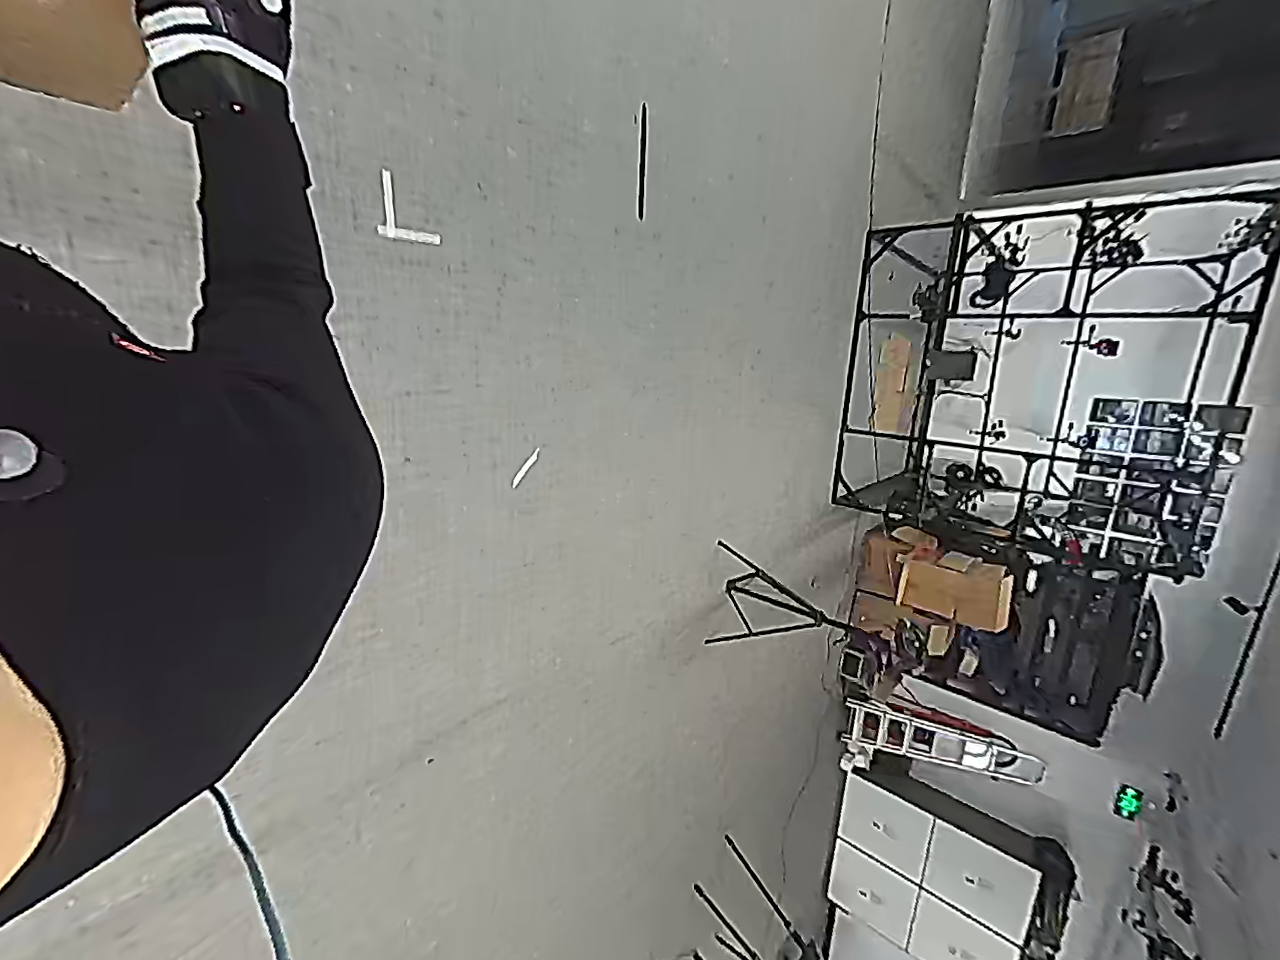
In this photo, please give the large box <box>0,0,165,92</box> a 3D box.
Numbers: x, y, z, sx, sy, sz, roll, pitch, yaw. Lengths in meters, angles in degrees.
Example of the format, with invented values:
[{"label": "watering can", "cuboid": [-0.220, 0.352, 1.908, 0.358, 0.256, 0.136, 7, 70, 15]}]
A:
[{"label": "large box", "cuboid": [-0.555, -0.478, 0.279, 0.408, 0.320, 0.320, -15, 113, -49]}]
